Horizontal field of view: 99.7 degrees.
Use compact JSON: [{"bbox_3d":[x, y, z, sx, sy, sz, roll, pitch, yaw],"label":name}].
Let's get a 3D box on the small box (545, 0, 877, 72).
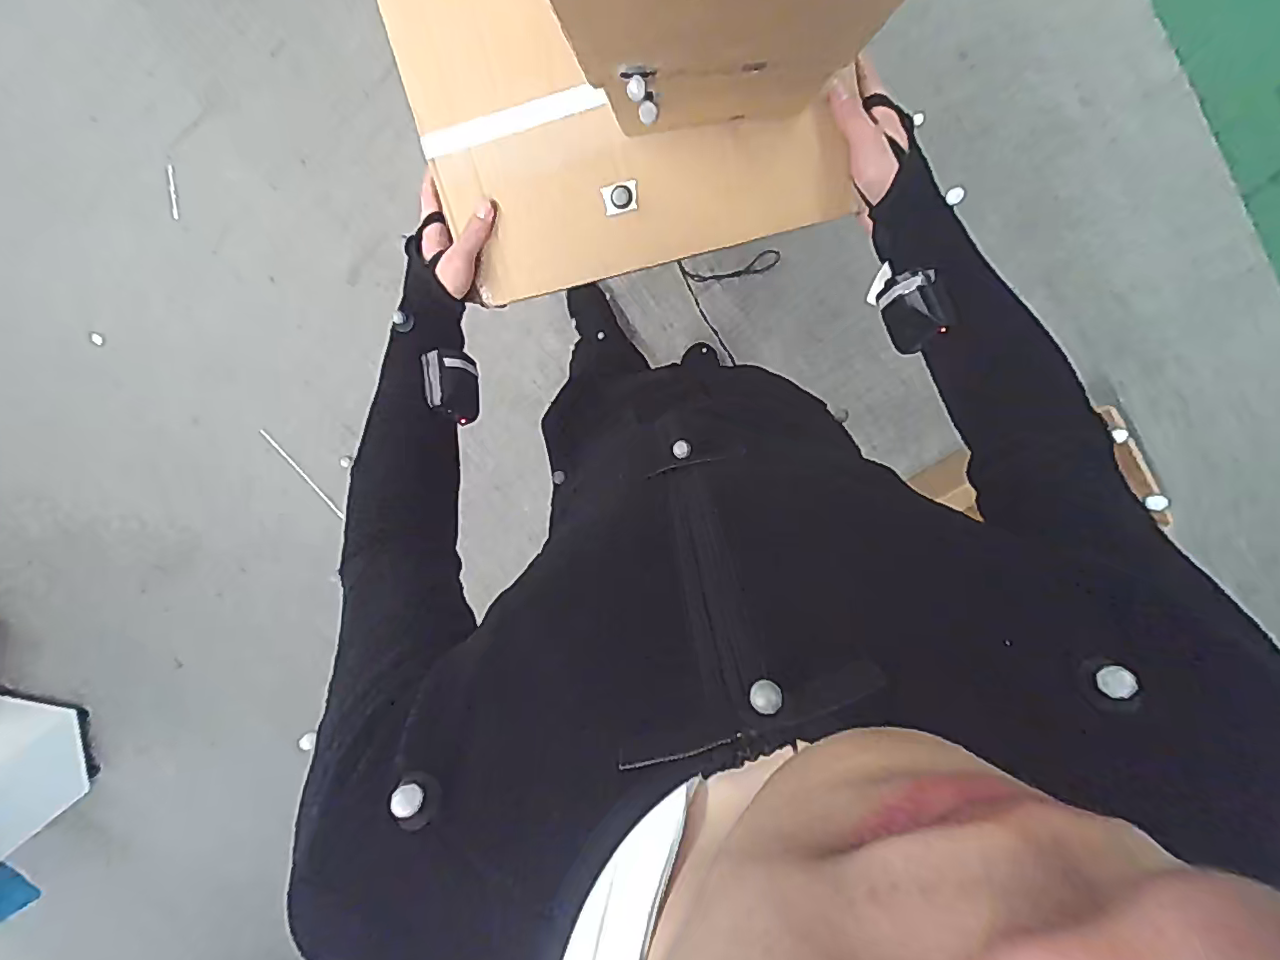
[{"bbox_3d":[0.035,-0.303,0.232,0.168,0.176,0.179,-1,111,5],"label":"small box"}]
